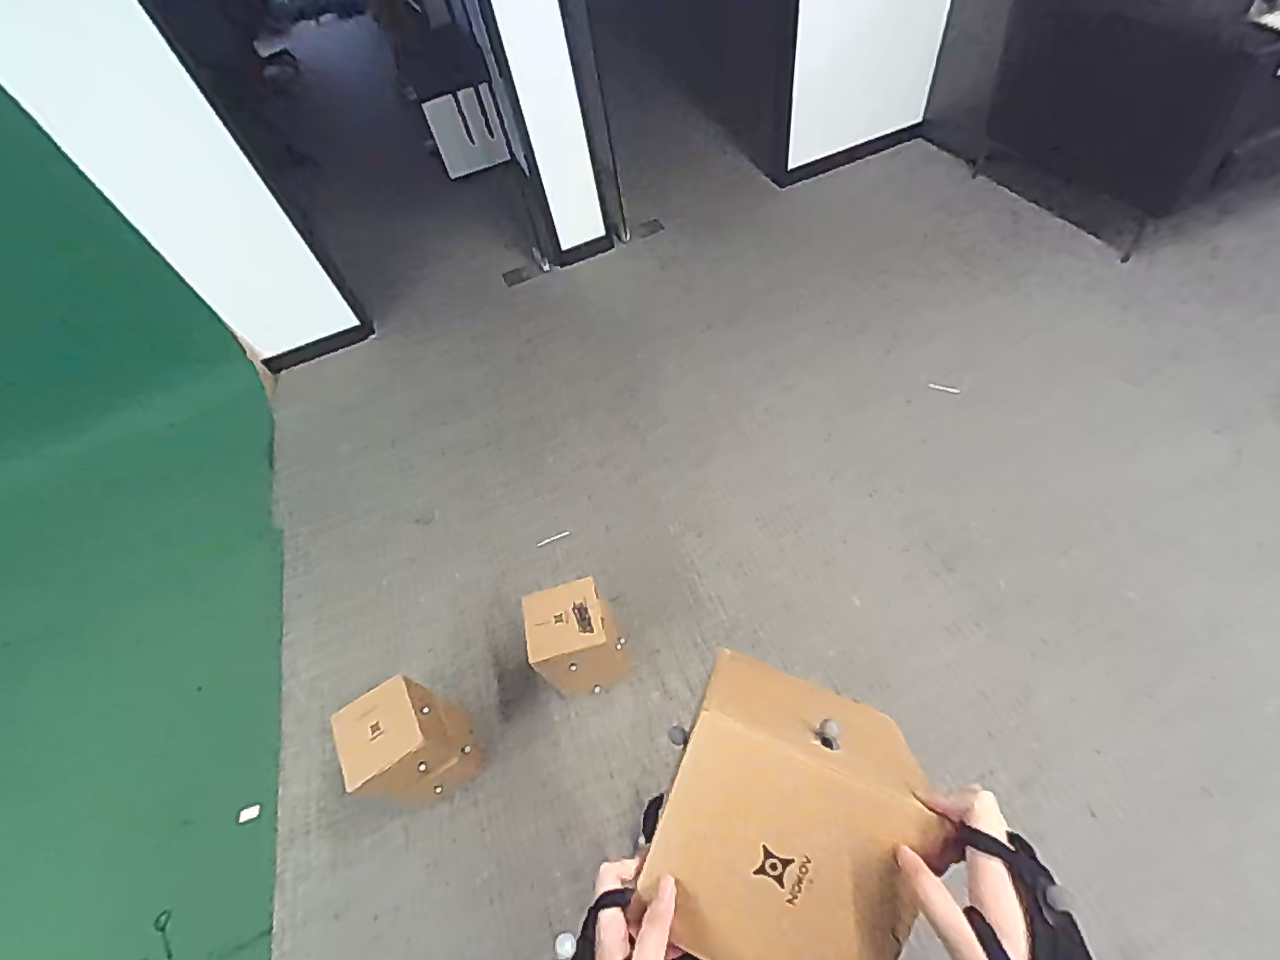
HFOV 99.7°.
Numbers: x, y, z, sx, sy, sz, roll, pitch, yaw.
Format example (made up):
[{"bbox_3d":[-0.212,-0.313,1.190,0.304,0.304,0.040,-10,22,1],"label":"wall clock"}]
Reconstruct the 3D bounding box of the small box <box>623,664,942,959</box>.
[{"bbox_3d":[0.110,0.274,0.454,0.179,0.176,0.168,21,91,13],"label":"small box"}]

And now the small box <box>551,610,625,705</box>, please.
[{"bbox_3d":[-0.142,0.466,1.414,0.179,0.176,0.168,-16,52,-3],"label":"small box"}]

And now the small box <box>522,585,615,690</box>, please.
[{"bbox_3d":[-0.164,0.374,1.278,0.179,0.176,0.168,-16,53,-1],"label":"small box"}]

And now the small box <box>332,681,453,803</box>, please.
[{"bbox_3d":[-0.539,0.584,1.193,0.168,0.176,0.179,-30,54,-13],"label":"small box"}]
